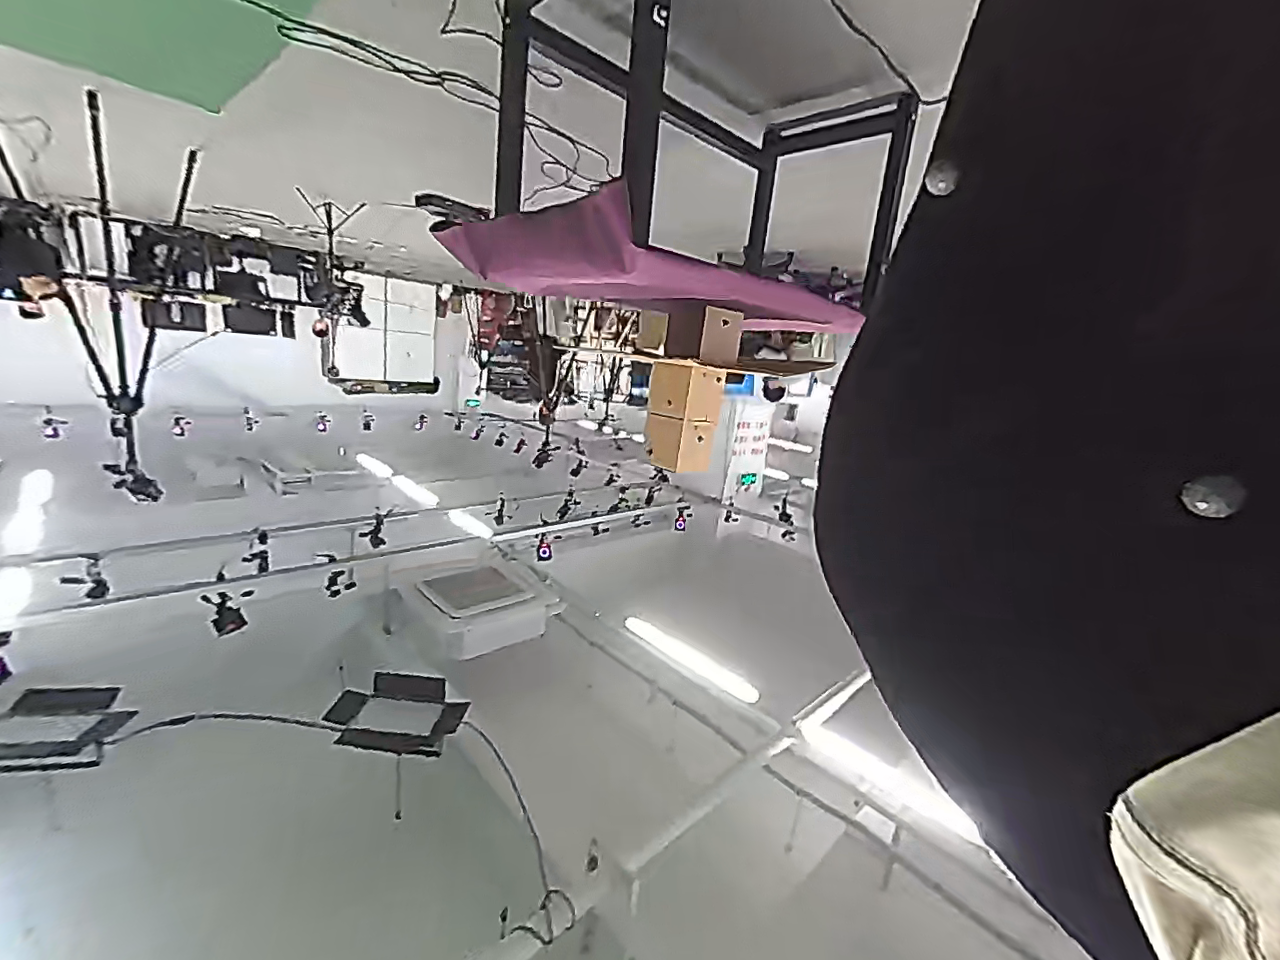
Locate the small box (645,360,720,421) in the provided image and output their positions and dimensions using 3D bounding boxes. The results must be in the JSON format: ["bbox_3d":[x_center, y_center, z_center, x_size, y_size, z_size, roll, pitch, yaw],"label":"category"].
[{"bbox_3d":[0.141,-0.289,1.736,0.168,0.176,0.179,-2,-164,-42],"label":"small box"}]

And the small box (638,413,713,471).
[{"bbox_3d":[0.118,-0.131,1.772,0.168,0.176,0.179,-3,-165,-42],"label":"small box"}]
